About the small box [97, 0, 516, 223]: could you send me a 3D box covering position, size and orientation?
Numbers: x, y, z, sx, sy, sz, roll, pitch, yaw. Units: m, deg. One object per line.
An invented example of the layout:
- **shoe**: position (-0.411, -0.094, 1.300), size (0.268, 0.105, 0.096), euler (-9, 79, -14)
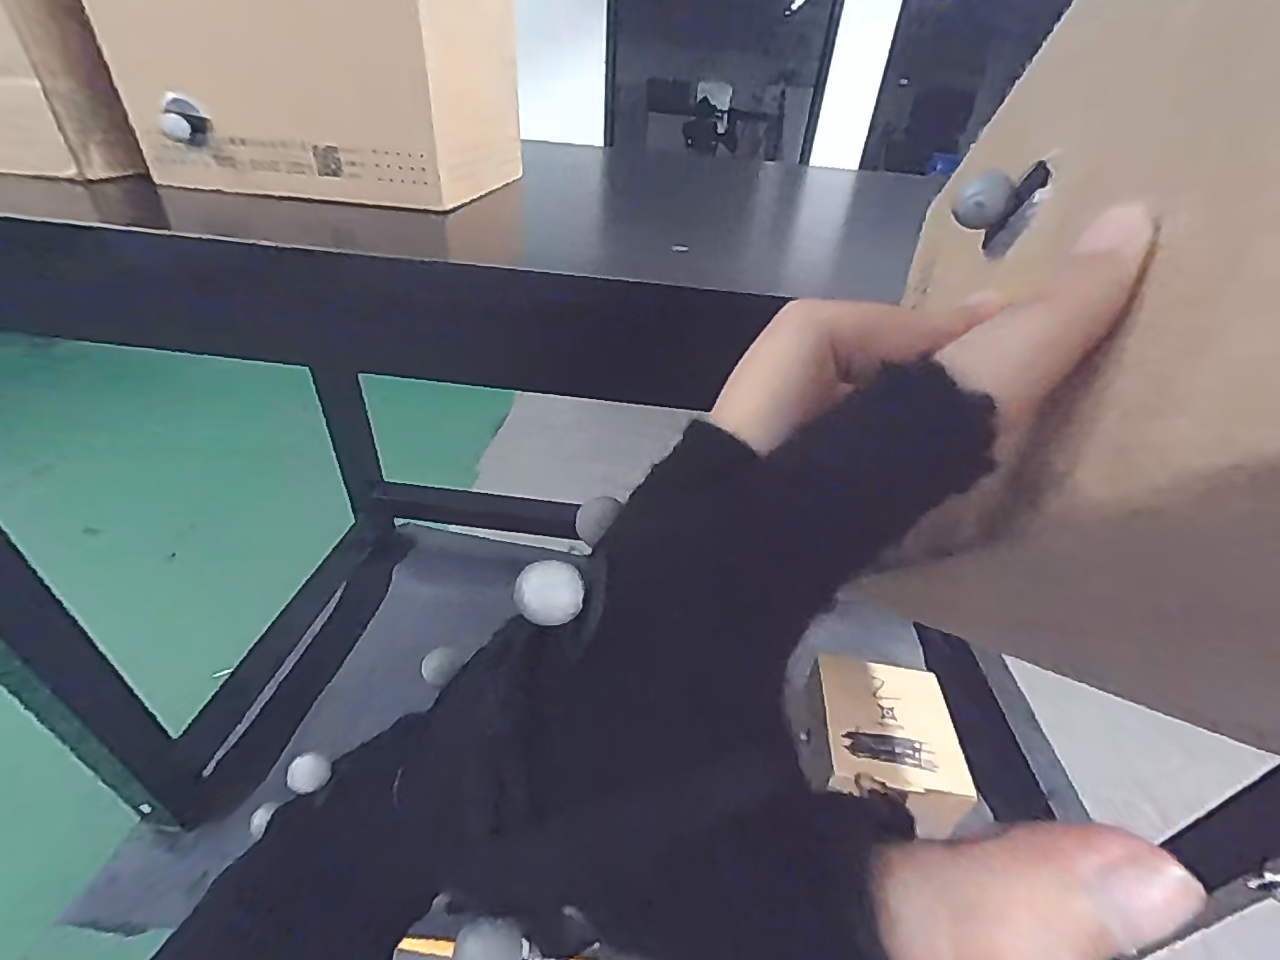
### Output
- **small box**: position (-0.177, -0.264, 0.329), size (0.168, 0.176, 0.179), euler (6, 34, 1)
